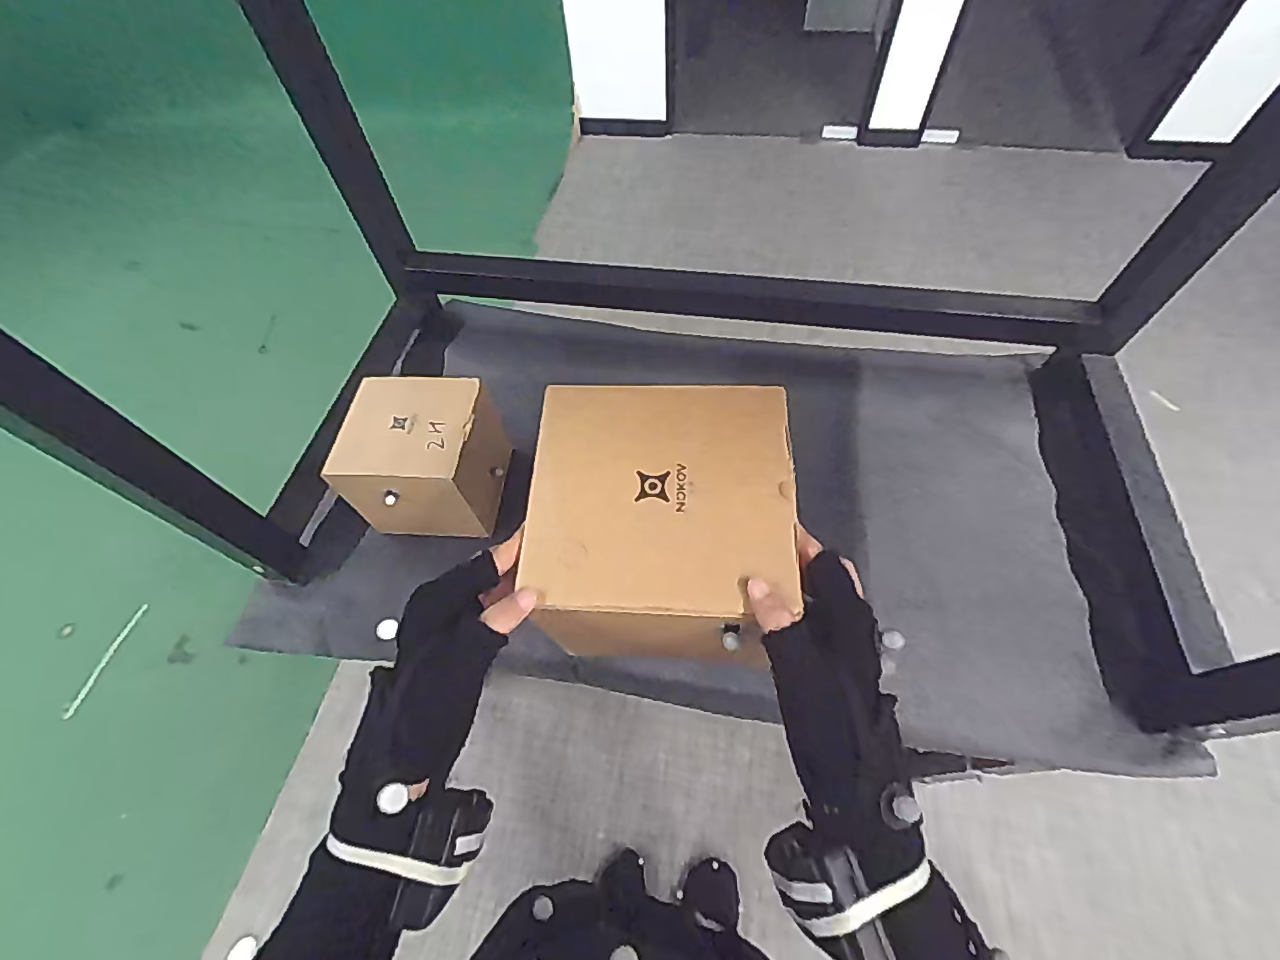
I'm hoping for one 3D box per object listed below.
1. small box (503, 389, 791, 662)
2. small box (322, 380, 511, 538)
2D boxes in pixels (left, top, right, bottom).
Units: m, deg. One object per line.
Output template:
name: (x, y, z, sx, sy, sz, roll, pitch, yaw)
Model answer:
small box: (0.014, 0.044, 0.425, 0.179, 0.176, 0.168, 1, 64, 5)
small box: (-0.305, -0.025, 0.779, 0.179, 0.176, 0.168, 3, 59, 4)
